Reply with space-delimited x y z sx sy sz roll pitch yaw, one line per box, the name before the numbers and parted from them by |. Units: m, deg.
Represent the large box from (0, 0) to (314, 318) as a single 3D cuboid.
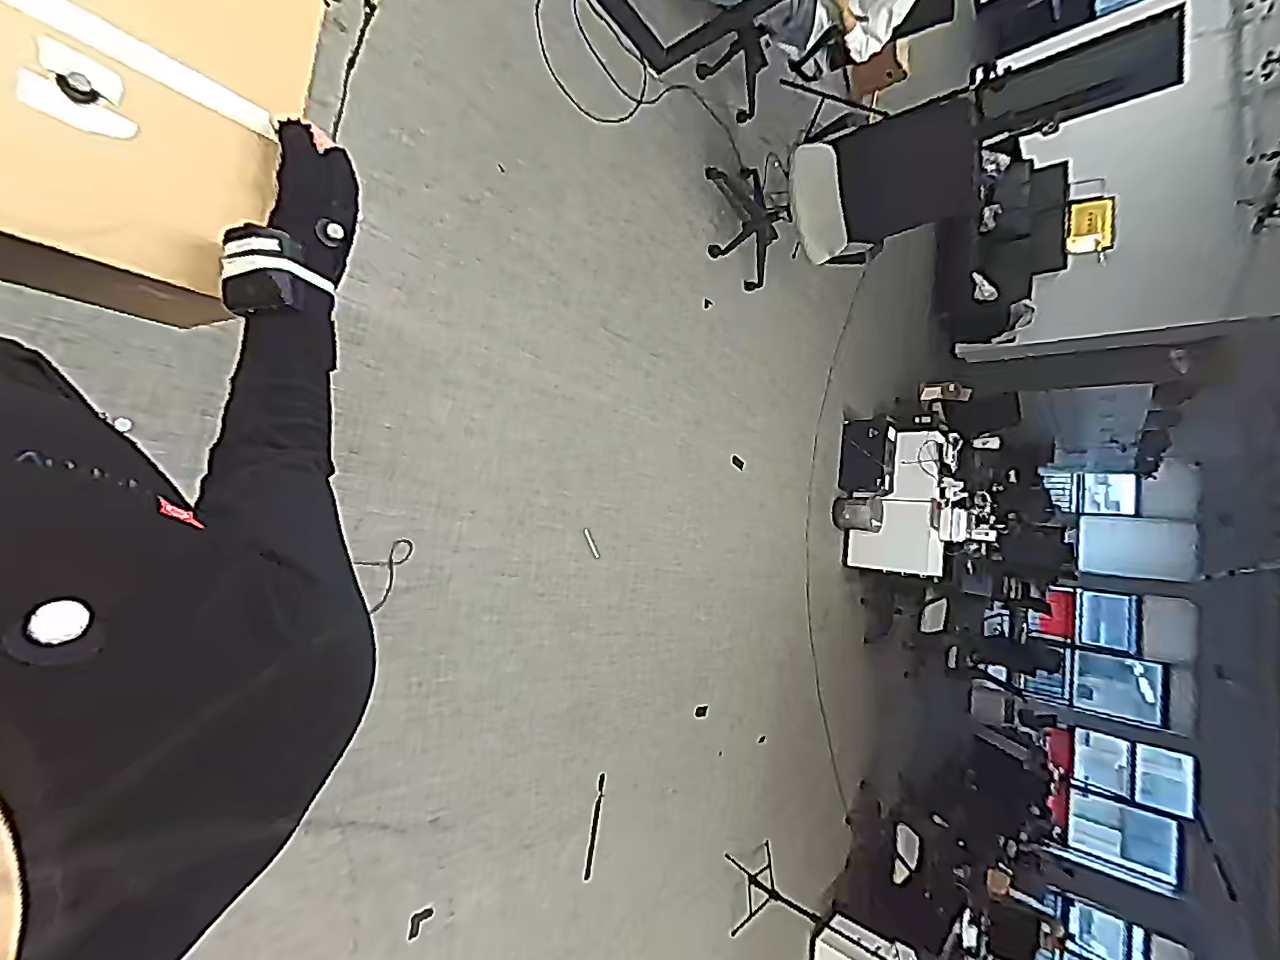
large box | -0.558 -0.352 0.431 0.408 0.320 0.320 11 89 -52
